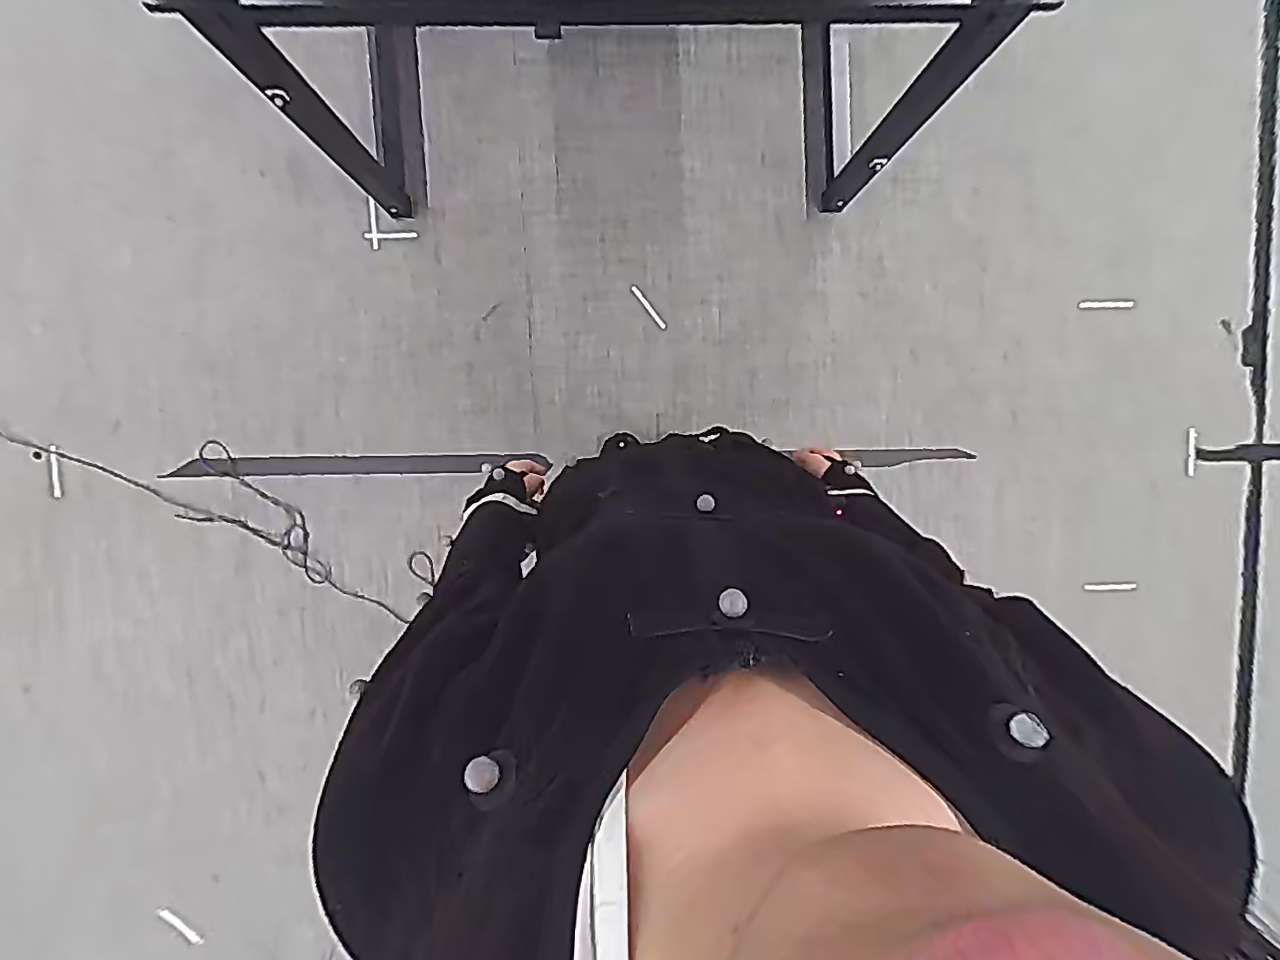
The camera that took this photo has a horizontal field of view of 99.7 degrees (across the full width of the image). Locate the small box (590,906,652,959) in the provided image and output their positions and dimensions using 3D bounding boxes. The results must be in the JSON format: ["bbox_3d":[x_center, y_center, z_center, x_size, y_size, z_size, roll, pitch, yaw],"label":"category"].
[{"bbox_3d":[-0.051,1.329,1.503,0.168,0.176,0.179,-4,96,-2],"label":"small box"}]
